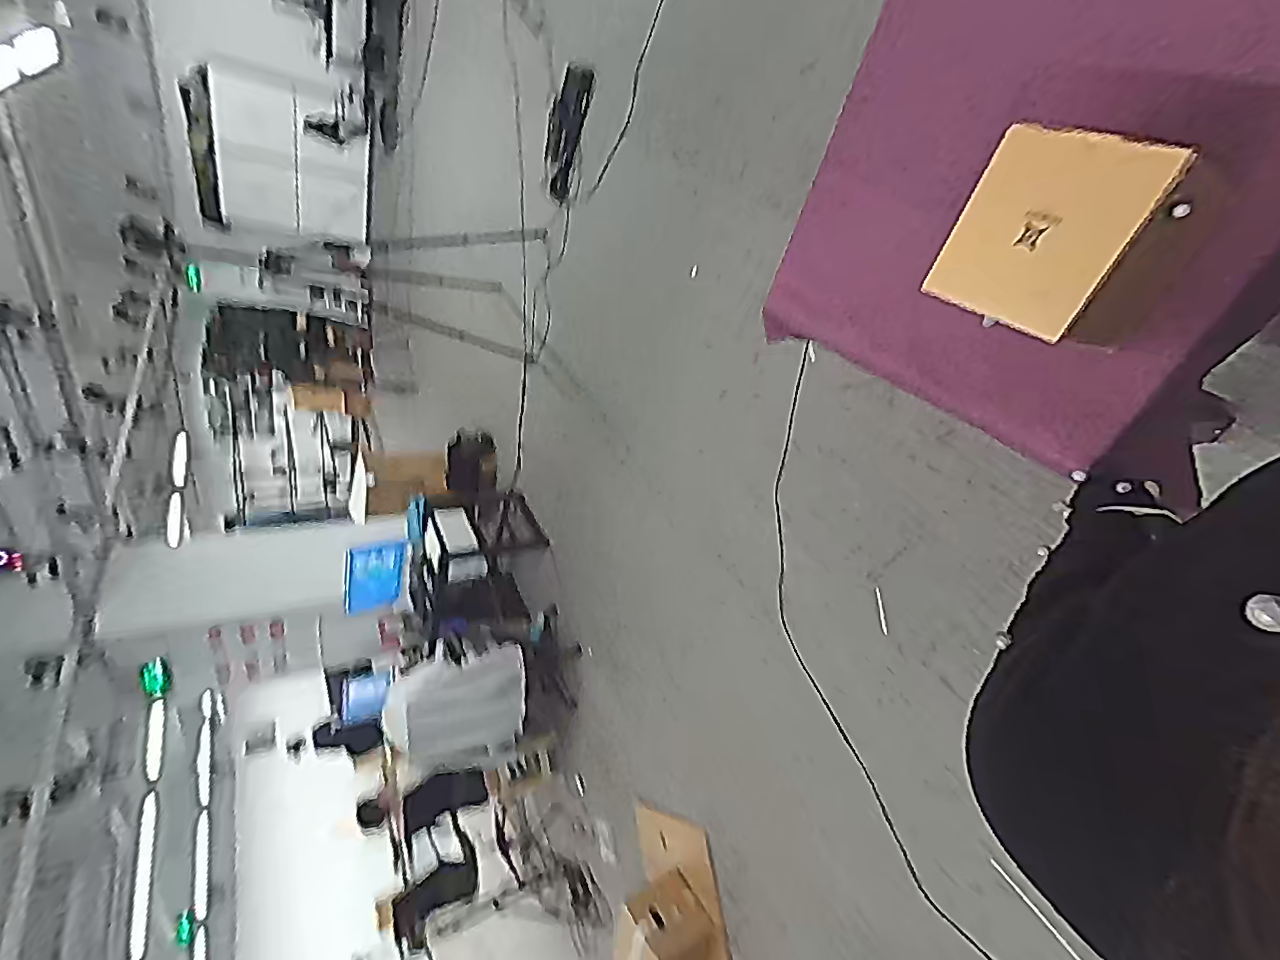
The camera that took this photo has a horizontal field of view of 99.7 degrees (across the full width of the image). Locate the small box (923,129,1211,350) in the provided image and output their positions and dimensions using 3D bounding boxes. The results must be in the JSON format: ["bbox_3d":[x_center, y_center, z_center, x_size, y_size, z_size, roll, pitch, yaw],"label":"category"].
[{"bbox_3d":[0.469,-0.258,0.603,0.168,0.176,0.179,49,131,41],"label":"small box"}]
